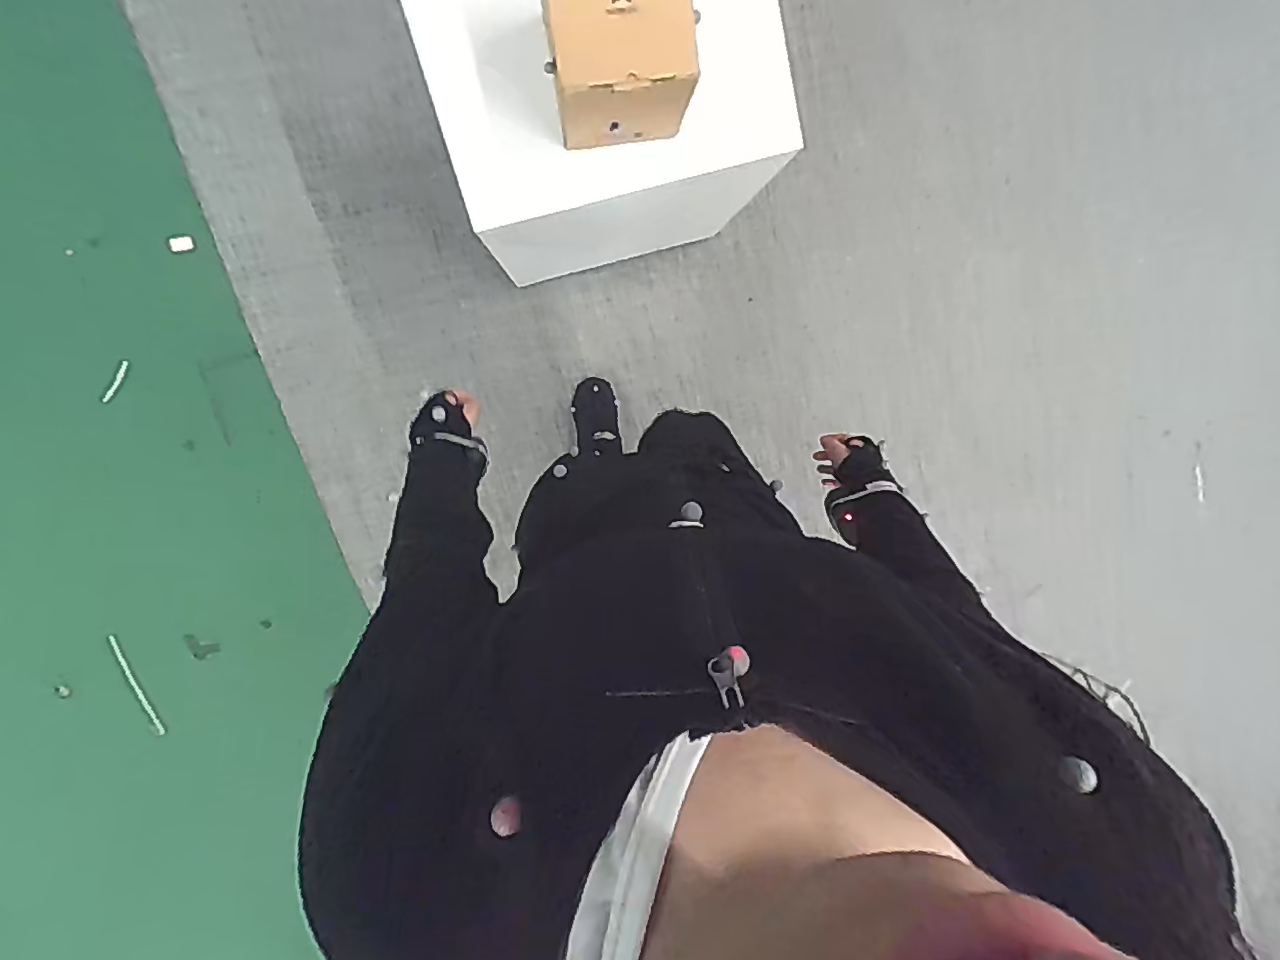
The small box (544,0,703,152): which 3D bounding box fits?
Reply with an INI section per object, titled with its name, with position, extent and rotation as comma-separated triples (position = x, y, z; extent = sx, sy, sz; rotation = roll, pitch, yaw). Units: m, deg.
[small box]
position = -0.028, -0.549, 0.681
extent = 0.168, 0.176, 0.179
rotation = -10, 102, -4
